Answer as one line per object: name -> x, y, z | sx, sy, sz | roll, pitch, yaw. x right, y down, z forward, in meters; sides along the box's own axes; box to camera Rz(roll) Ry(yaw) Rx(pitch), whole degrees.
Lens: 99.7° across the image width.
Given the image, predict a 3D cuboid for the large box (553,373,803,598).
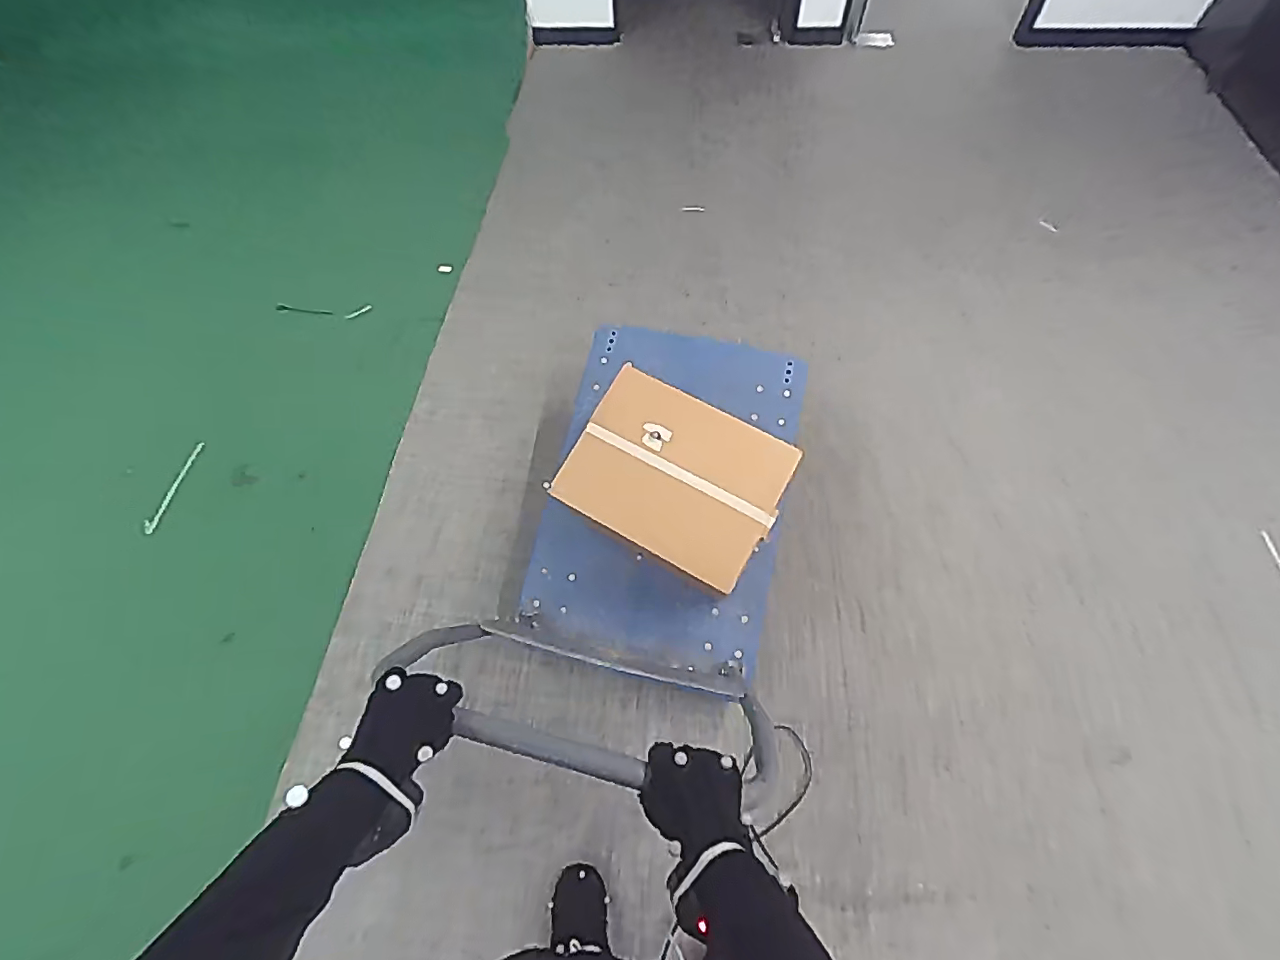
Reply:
large box -> 0.090, 0.030, 1.189 | 0.408, 0.320, 0.320 | 28, 80, 13
